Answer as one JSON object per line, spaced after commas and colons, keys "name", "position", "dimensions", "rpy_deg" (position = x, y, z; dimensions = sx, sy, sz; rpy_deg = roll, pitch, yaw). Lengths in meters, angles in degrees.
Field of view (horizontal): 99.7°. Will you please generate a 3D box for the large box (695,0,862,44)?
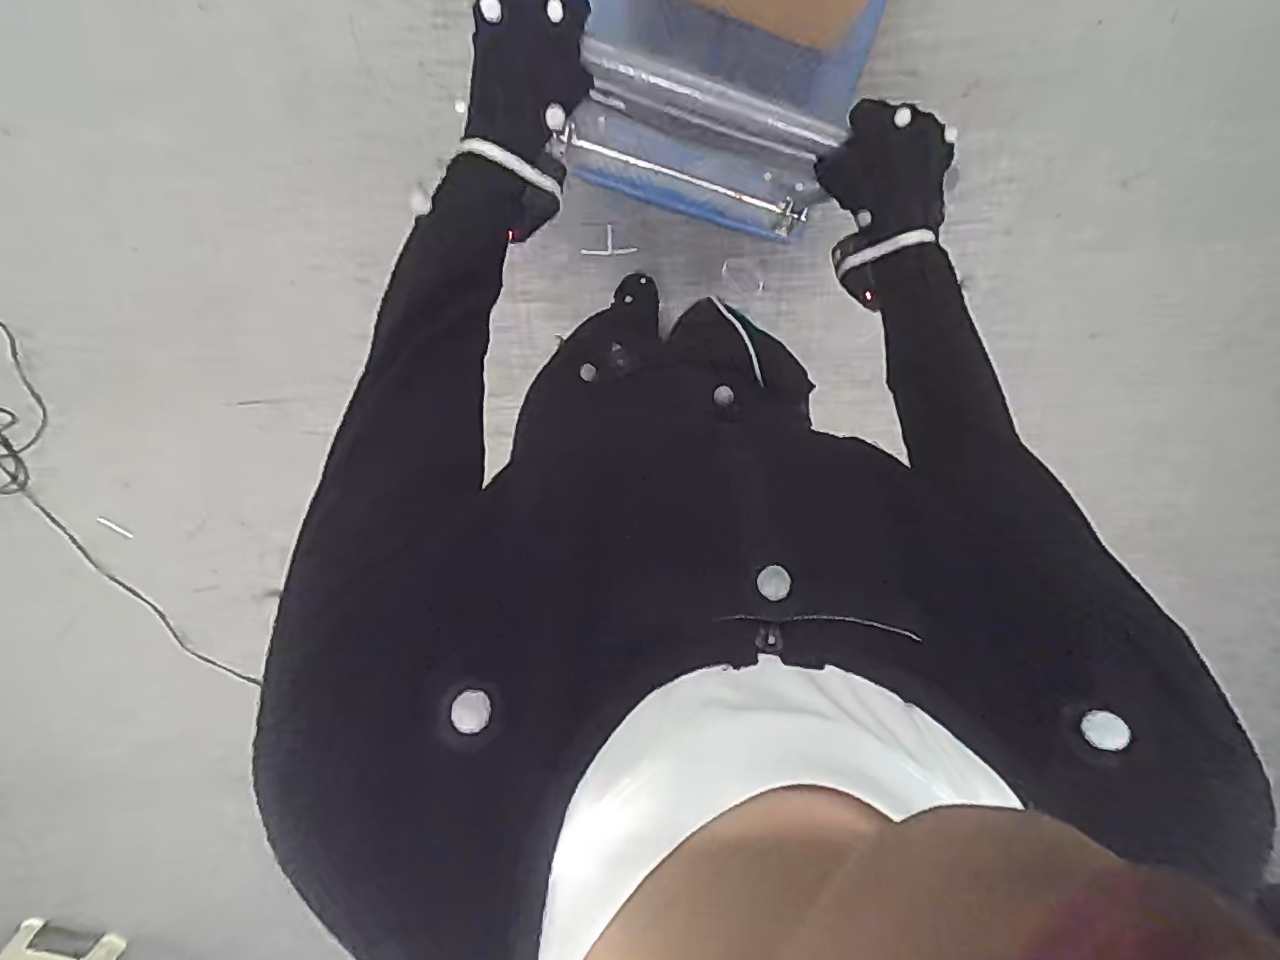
{"name": "large box", "position": [0.213, -0.972, 0.834], "dimensions": [0.408, 0.320, 0.320], "rpy_deg": [16, 106, -5]}
